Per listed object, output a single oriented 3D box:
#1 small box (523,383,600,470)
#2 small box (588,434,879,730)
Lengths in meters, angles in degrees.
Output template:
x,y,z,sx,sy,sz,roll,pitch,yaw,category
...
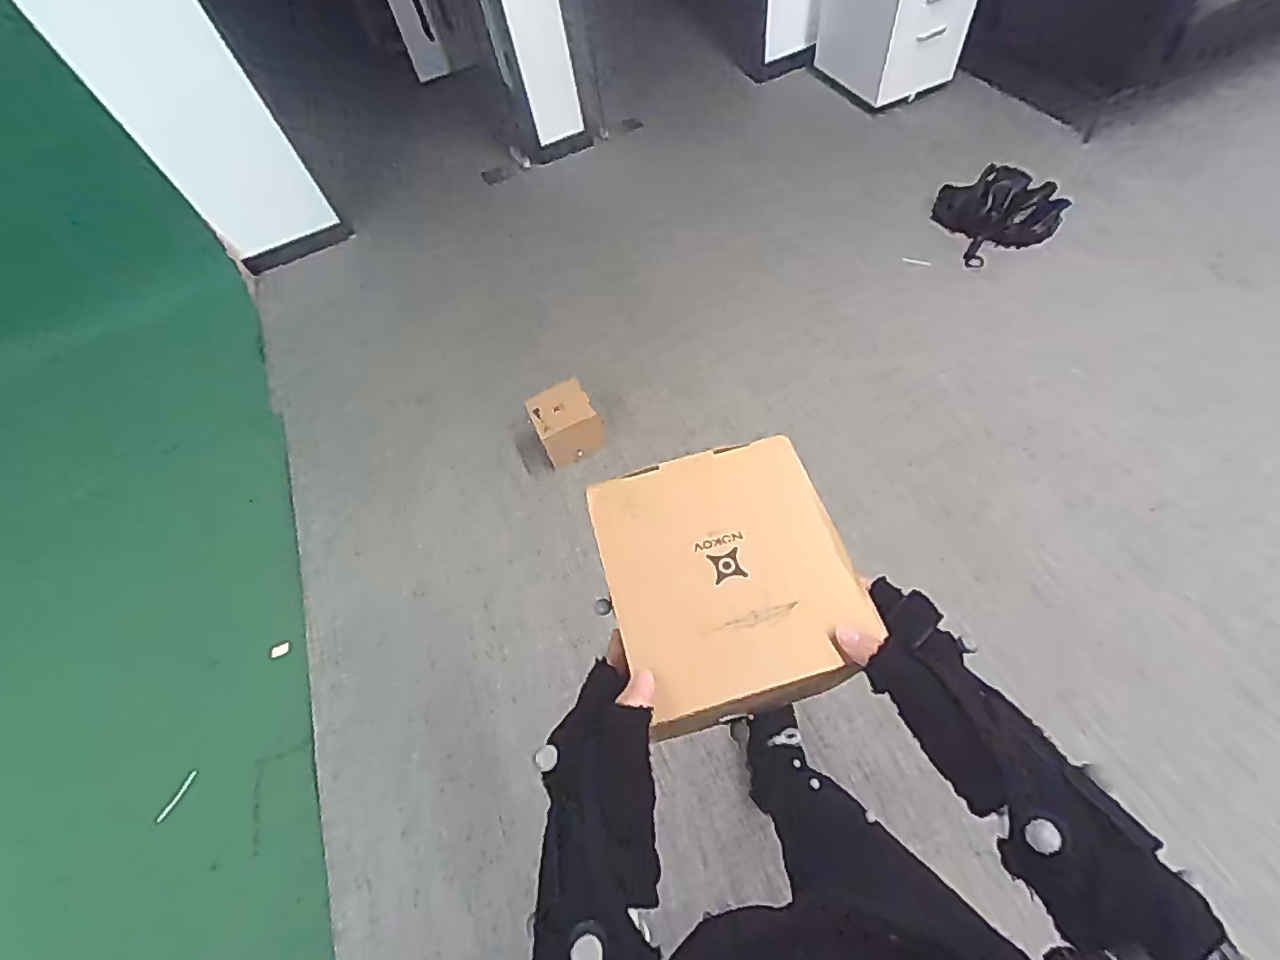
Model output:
x,y,z,sx,sy,sz,roll,pitch,yaw,category
-0.235,-0.161,1.669,0.179,0.176,0.168,-25,59,-7,small box
0.060,0.092,0.455,0.168,0.176,0.179,-15,61,-5,small box
